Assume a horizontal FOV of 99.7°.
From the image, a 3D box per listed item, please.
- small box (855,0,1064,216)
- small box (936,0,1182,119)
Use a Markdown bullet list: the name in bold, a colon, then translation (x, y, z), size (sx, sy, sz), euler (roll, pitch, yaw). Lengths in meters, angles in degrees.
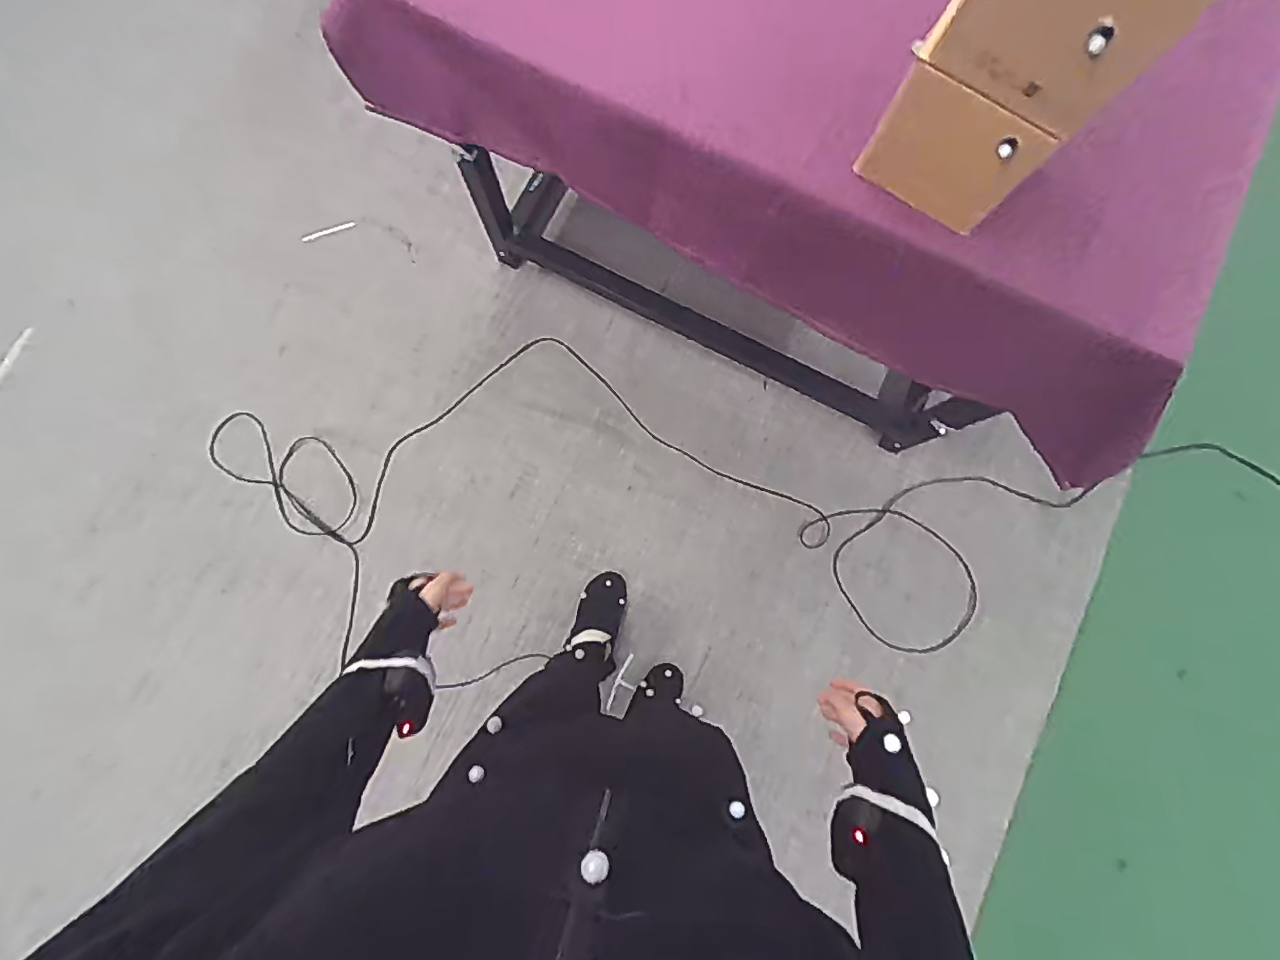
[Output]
- **small box**: translation (0.395, -0.460, 0.648), size (0.179, 0.176, 0.168), euler (32, 82, 3)
- **small box**: translation (0.409, -0.483, 0.488), size (0.168, 0.176, 0.179), euler (34, 81, 2)
